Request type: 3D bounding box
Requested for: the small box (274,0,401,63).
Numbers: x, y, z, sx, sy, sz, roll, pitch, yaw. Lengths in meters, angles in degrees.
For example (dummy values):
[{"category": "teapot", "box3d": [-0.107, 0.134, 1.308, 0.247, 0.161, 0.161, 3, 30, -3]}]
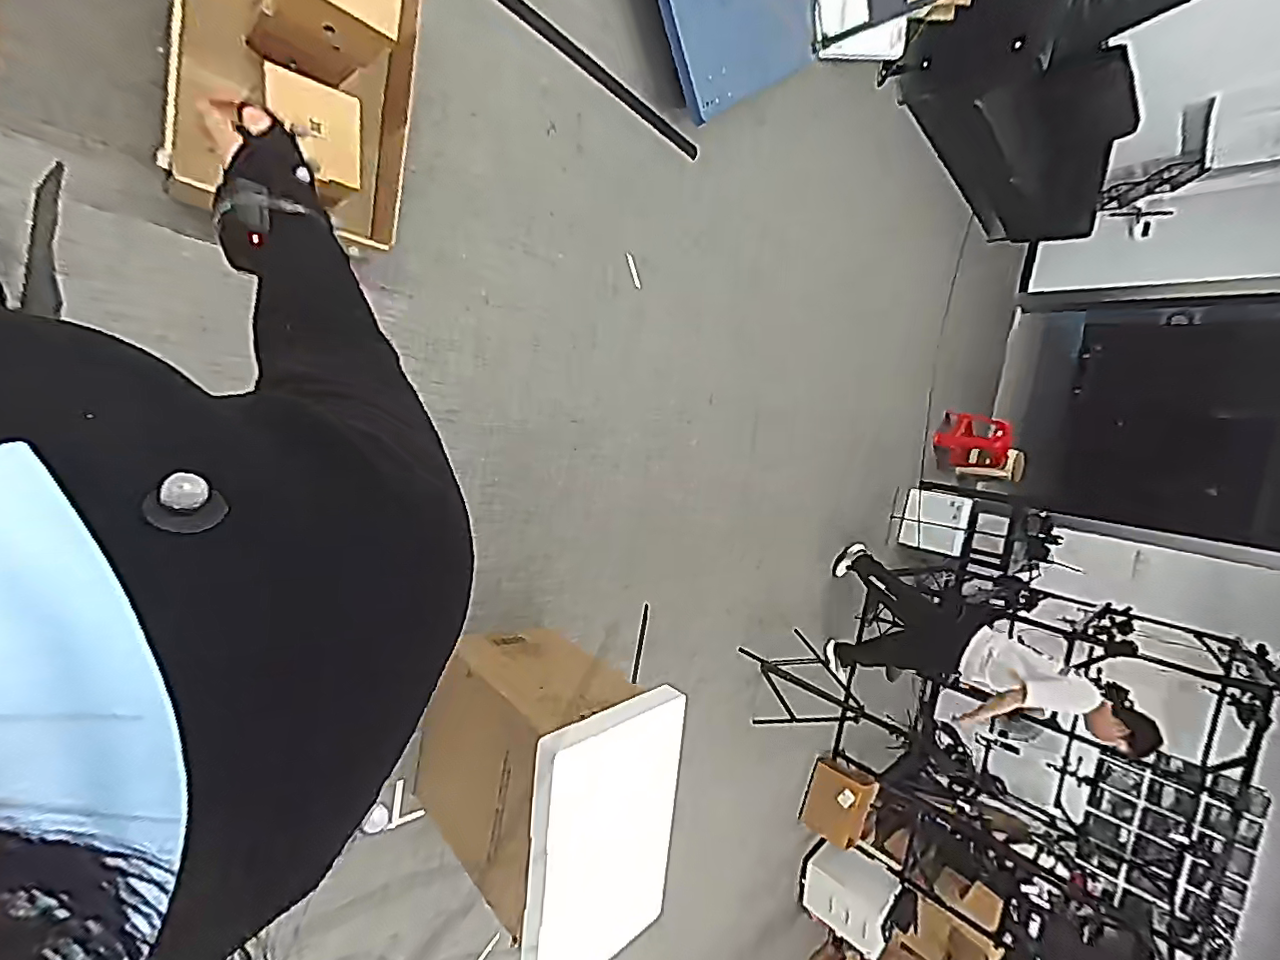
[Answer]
[{"category": "small box", "box3d": [-0.543, -0.906, 0.975, 0.168, 0.176, 0.179, 3, 100, -47]}]
